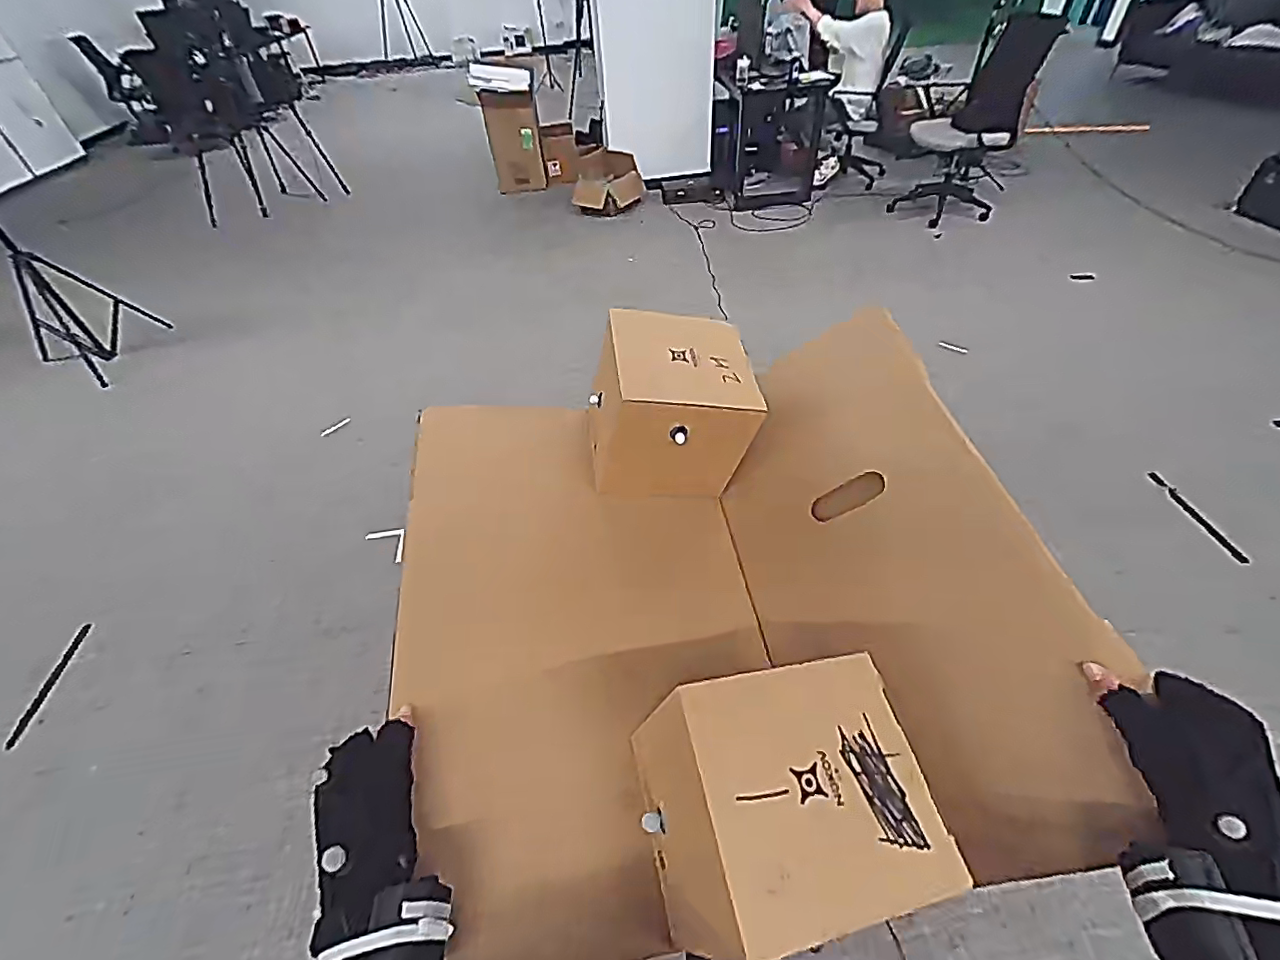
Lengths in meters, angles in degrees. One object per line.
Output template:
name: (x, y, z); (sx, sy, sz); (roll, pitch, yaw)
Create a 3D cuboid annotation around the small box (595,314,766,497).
small box: (0.037, -0.091, 0.710); (0.179, 0.176, 0.168); (3, 52, -14)
